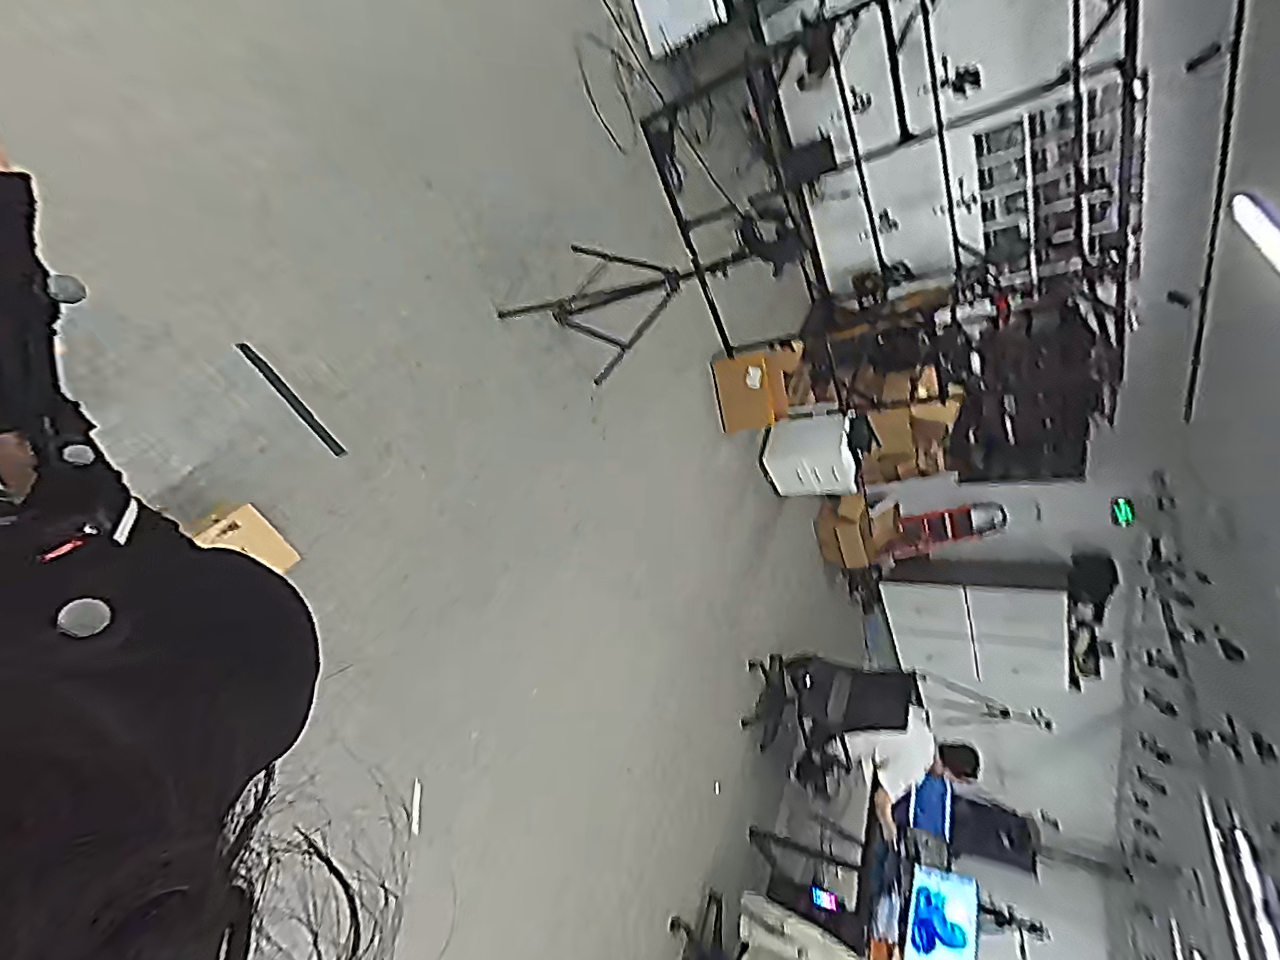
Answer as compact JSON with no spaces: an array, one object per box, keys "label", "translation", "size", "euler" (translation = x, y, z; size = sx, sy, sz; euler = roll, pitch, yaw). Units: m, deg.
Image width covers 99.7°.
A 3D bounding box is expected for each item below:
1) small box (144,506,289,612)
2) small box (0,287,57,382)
[{"label":"small box","translation":[-0.957,0.172,1.226],"size":[0.168,0.176,0.179],"euler":[-54,130,-42]},{"label":"small box","translation":[-1.191,-0.250,0.934],"size":[0.179,0.176,0.168],"euler":[-53,127,-42]}]
